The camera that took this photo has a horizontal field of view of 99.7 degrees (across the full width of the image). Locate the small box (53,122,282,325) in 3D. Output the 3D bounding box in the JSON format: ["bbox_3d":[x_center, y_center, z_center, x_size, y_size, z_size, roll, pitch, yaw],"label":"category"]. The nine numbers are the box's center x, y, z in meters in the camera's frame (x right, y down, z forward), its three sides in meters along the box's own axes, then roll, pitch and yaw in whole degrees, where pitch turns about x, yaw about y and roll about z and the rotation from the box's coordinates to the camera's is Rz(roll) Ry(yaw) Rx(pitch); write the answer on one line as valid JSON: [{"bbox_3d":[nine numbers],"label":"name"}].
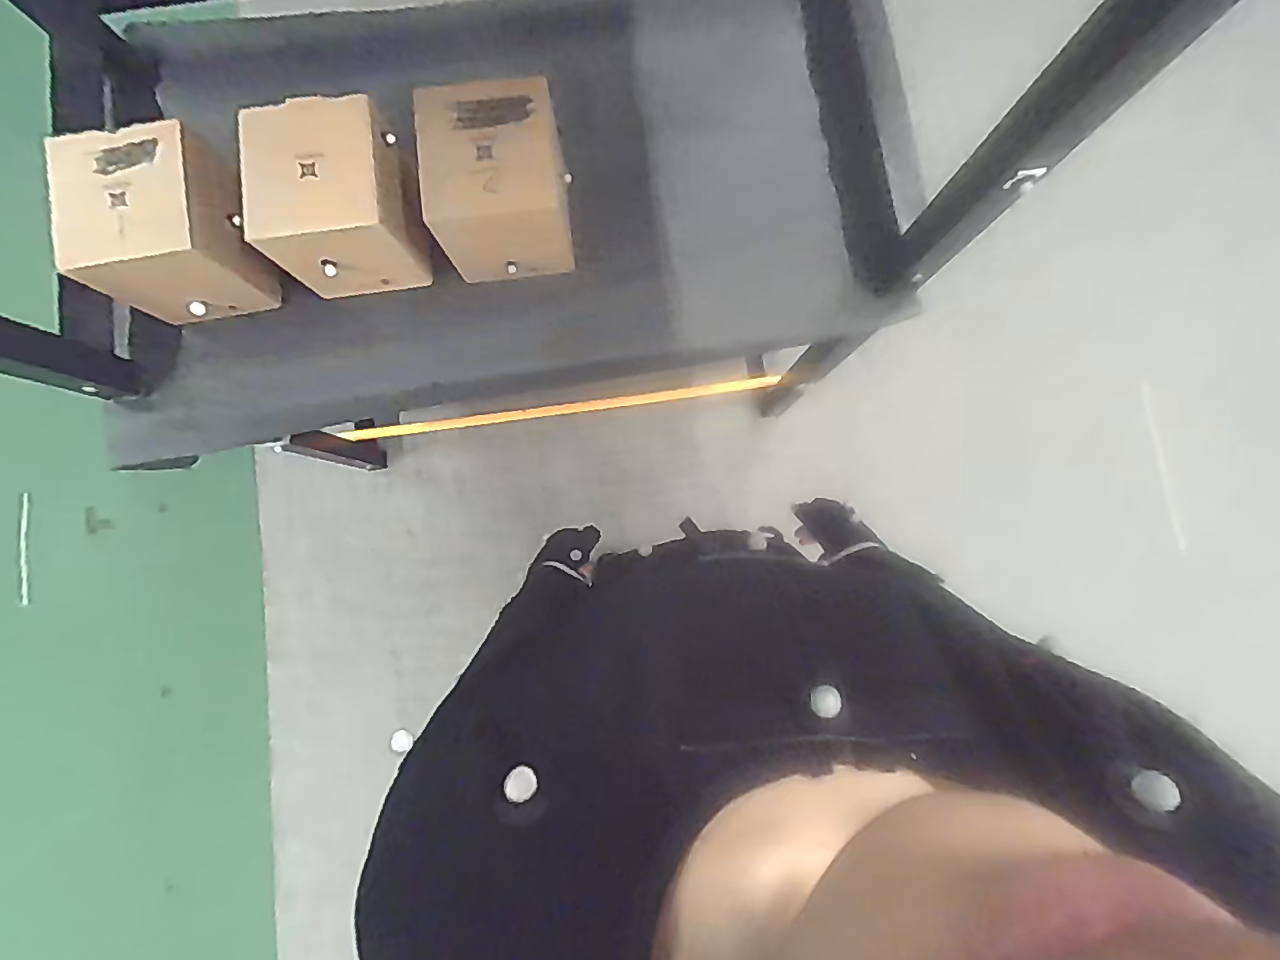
[{"bbox_3d":[-0.624,-0.335,0.733,0.168,0.176,0.179,-10,84,0],"label":"small box"}]

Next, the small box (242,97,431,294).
[{"bbox_3d":[-0.400,-0.370,0.738,0.168,0.176,0.179,-7,83,-1],"label":"small box"}]
